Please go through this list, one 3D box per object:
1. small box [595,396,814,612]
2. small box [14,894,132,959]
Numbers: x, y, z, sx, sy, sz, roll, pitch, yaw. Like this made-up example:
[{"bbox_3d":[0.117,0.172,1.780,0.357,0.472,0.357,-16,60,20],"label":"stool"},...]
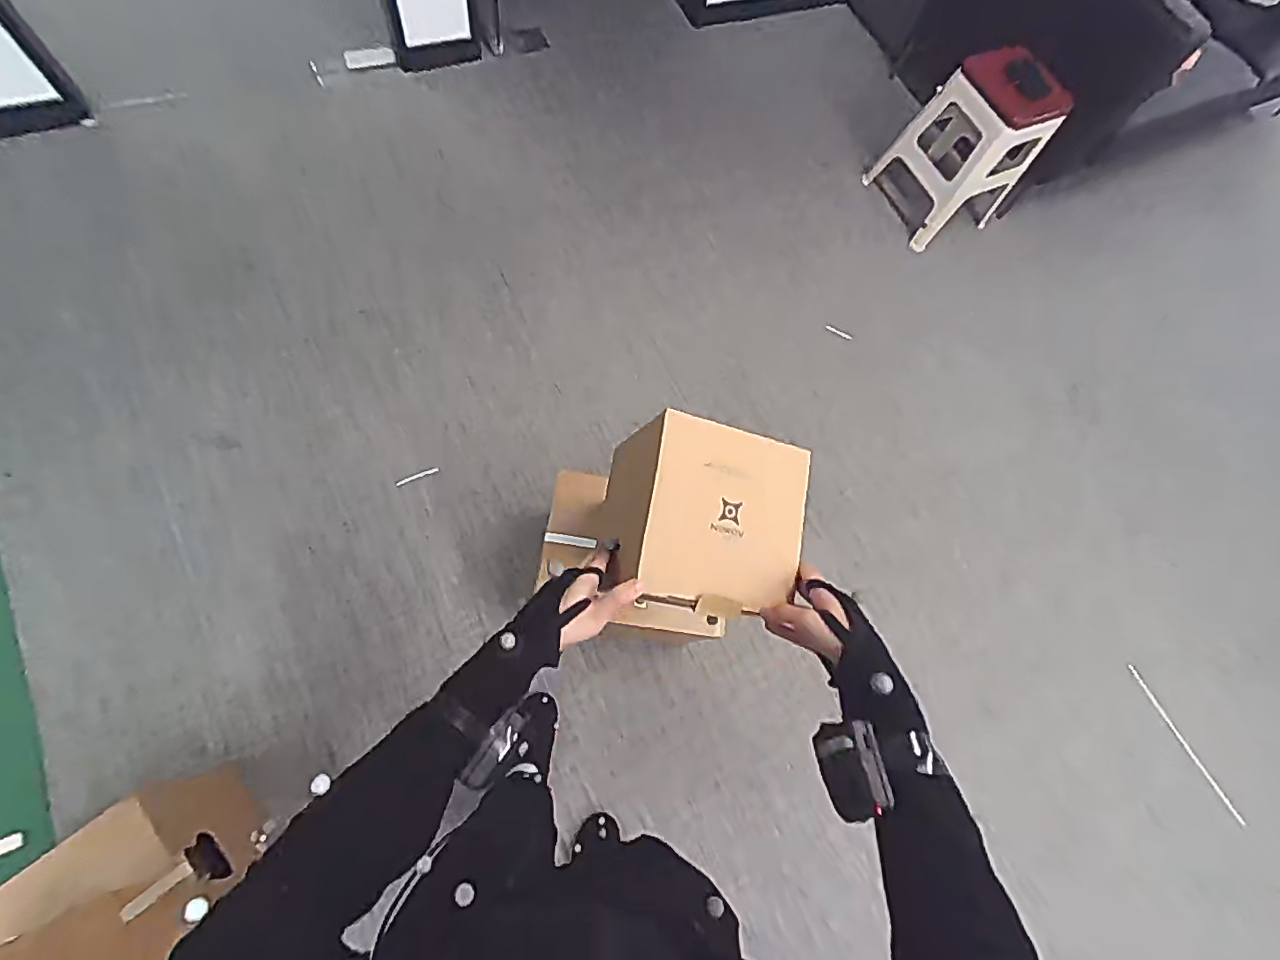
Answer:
[{"bbox_3d":[0.060,0.036,0.585,0.168,0.176,0.179,16,75,-18],"label":"small box"},{"bbox_3d":[-0.811,0.699,0.701,0.168,0.176,0.179,-31,79,-20],"label":"small box"}]
